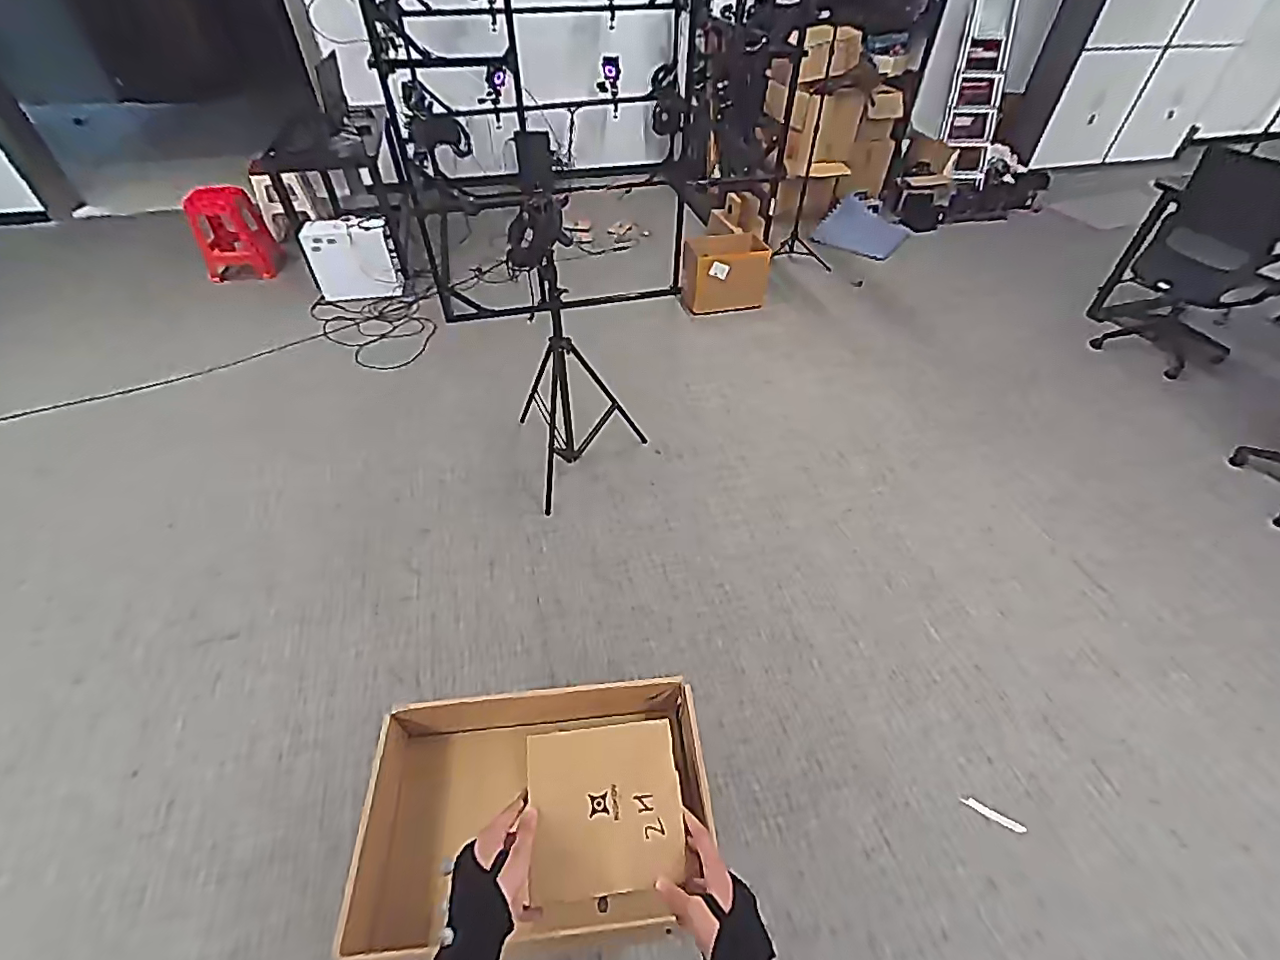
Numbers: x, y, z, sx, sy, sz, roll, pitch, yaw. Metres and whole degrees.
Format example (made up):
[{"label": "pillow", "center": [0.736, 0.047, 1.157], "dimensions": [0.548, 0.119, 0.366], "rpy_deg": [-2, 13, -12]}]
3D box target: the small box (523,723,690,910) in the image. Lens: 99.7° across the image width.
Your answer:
[{"label": "small box", "center": [-0.048, 0.412, 0.664], "dimensions": [0.179, 0.176, 0.168], "rpy_deg": [-2, 55, -9]}]
